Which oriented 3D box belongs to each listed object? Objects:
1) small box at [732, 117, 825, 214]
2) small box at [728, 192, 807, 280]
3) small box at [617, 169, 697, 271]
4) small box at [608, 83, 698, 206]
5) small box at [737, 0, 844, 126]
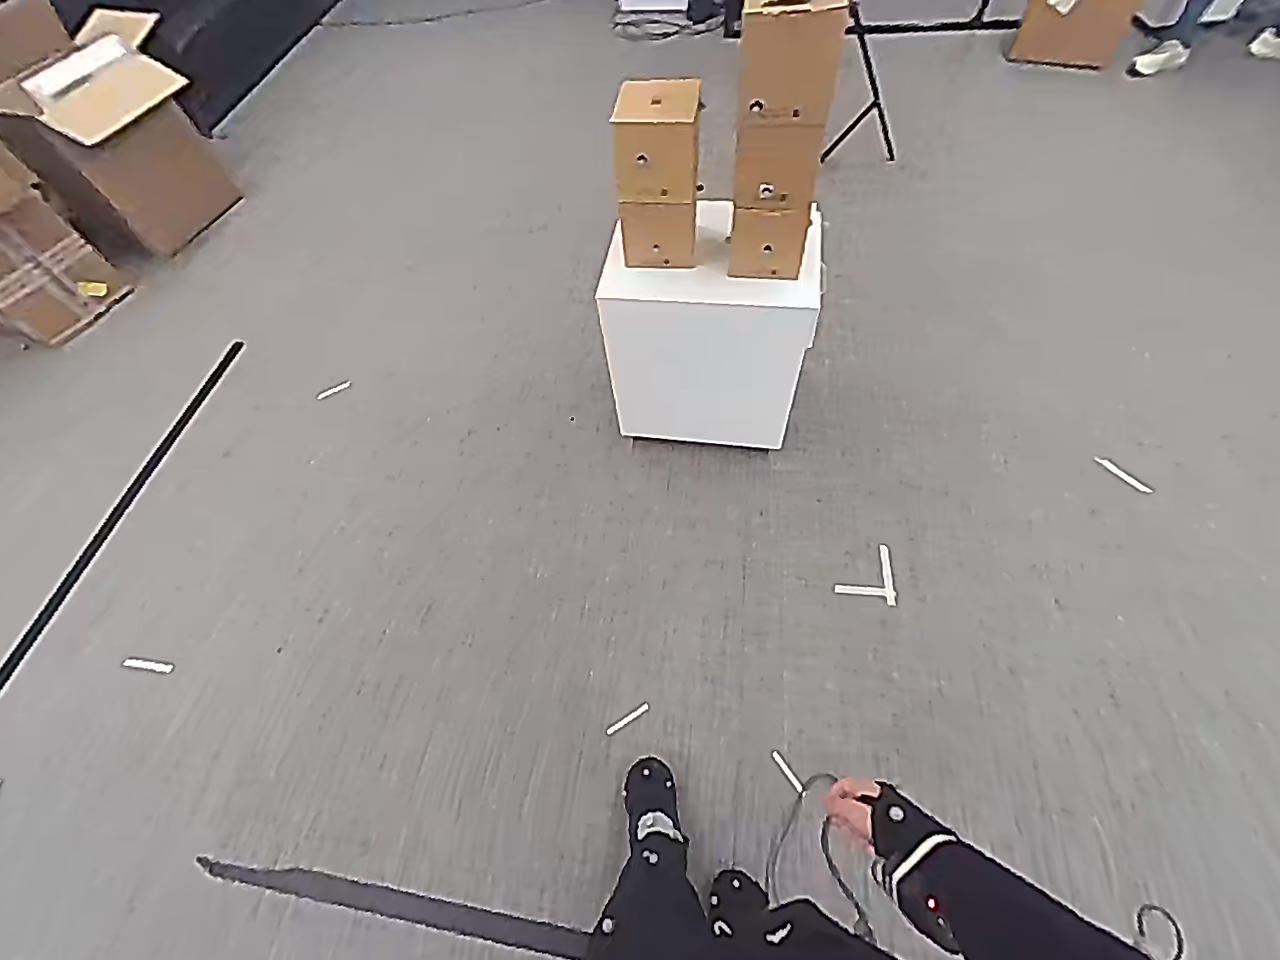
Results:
[{"bbox_3d":[0.280,-0.676,1.108,0.168,0.176,0.179,6,59,11],"label":"small box"},{"bbox_3d":[0.292,-0.582,1.242,0.168,0.176,0.179,6,60,10],"label":"small box"},{"bbox_3d":[0.045,-0.626,1.290,0.168,0.176,0.179,4,59,7],"label":"small box"},{"bbox_3d":[0.035,-0.708,1.150,0.168,0.176,0.179,5,58,7],"label":"small box"},{"bbox_3d":[0.266,-0.760,0.967,0.168,0.176,0.179,7,58,11],"label":"small box"}]
